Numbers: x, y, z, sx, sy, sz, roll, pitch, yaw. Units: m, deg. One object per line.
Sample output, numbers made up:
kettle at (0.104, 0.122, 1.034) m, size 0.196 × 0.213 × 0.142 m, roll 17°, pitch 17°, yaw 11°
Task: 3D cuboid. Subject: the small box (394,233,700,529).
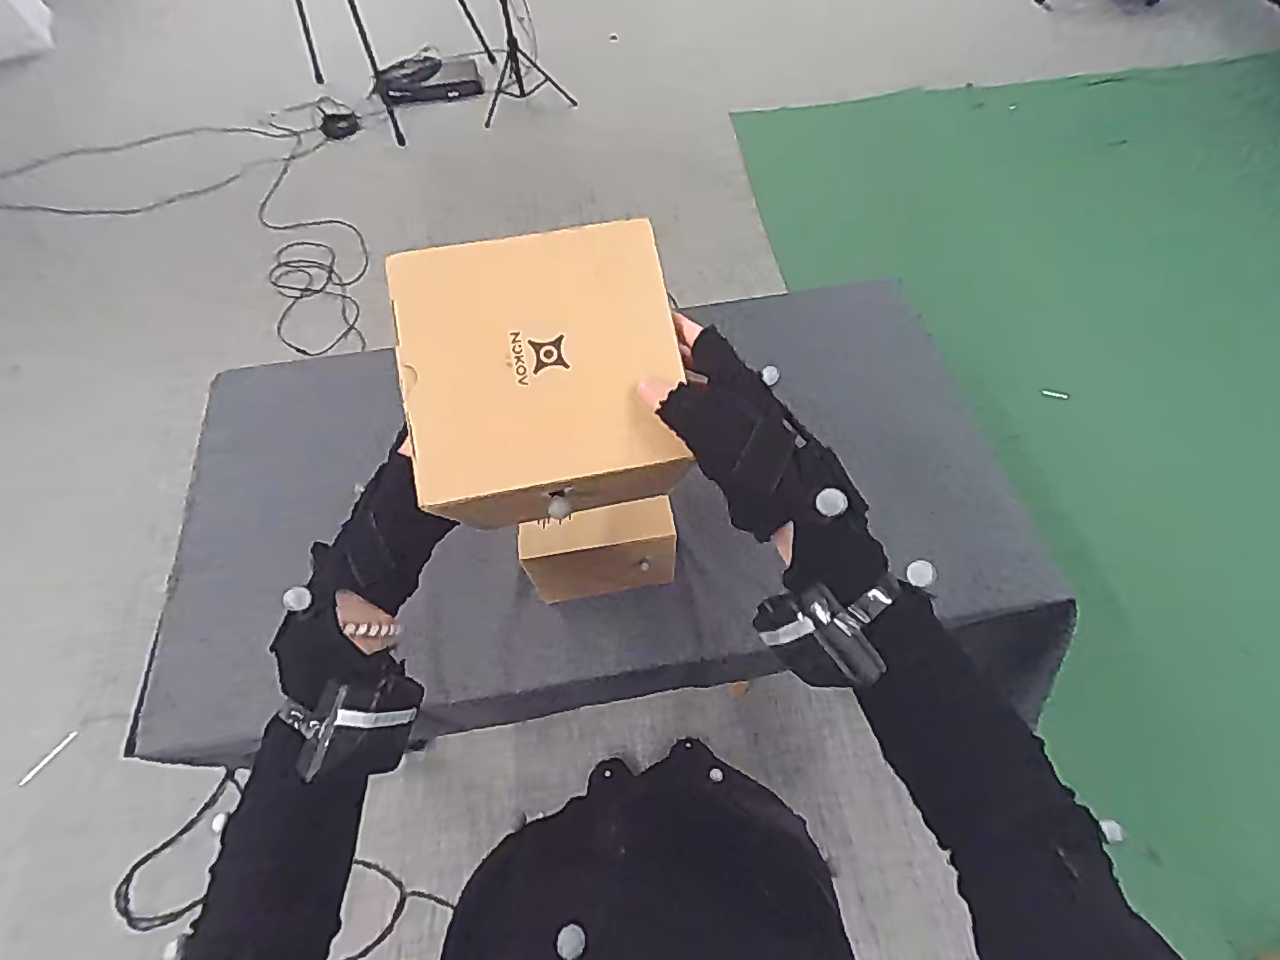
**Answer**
small box at (-0.066, -0.061, 0.425) m, size 0.179 × 0.176 × 0.168 m, roll -11°, pitch 80°, yaw -5°
